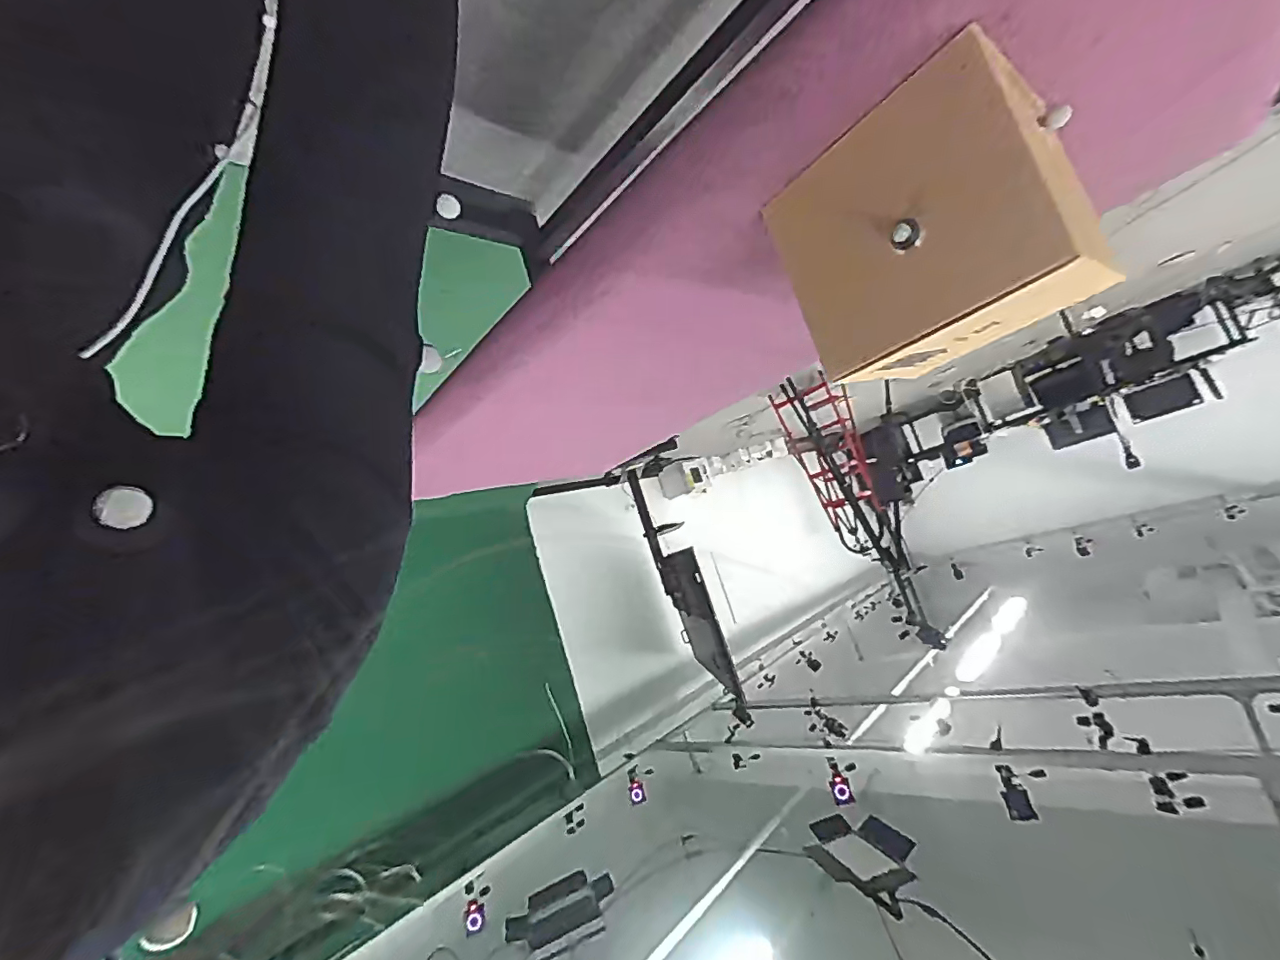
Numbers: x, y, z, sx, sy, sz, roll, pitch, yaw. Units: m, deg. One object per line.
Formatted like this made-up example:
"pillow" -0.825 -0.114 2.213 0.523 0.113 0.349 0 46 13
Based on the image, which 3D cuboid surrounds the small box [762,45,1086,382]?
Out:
"small box" 0.225 -0.197 0.455 0.168 0.176 0.179 -13 170 -42
